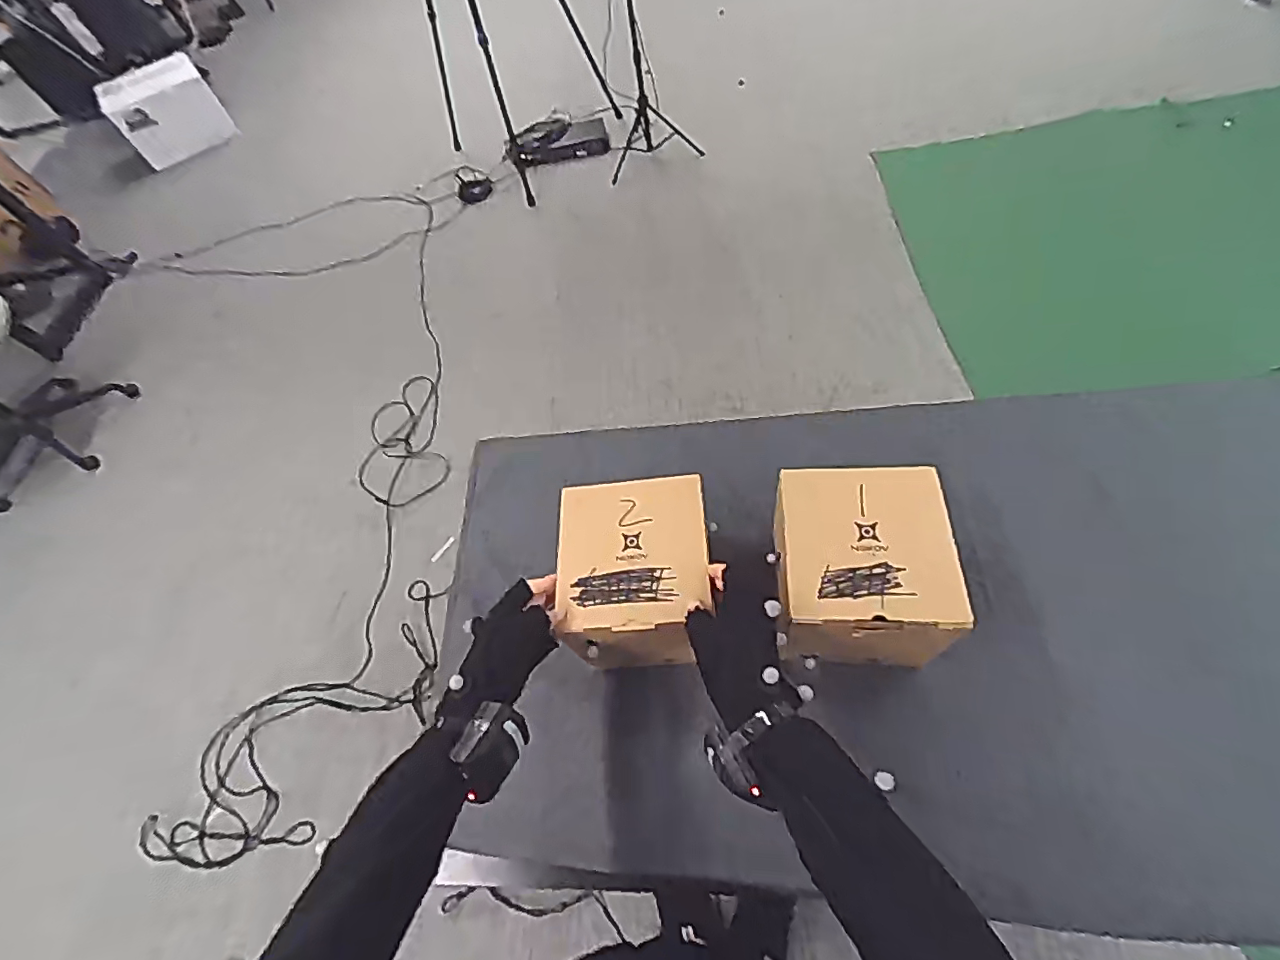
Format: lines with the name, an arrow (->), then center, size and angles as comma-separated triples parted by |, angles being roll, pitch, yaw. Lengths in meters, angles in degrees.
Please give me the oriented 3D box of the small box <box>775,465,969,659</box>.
small box -> 0.246, 0.100, 0.621 | 0.168, 0.176, 0.179 | -1, 59, 10
